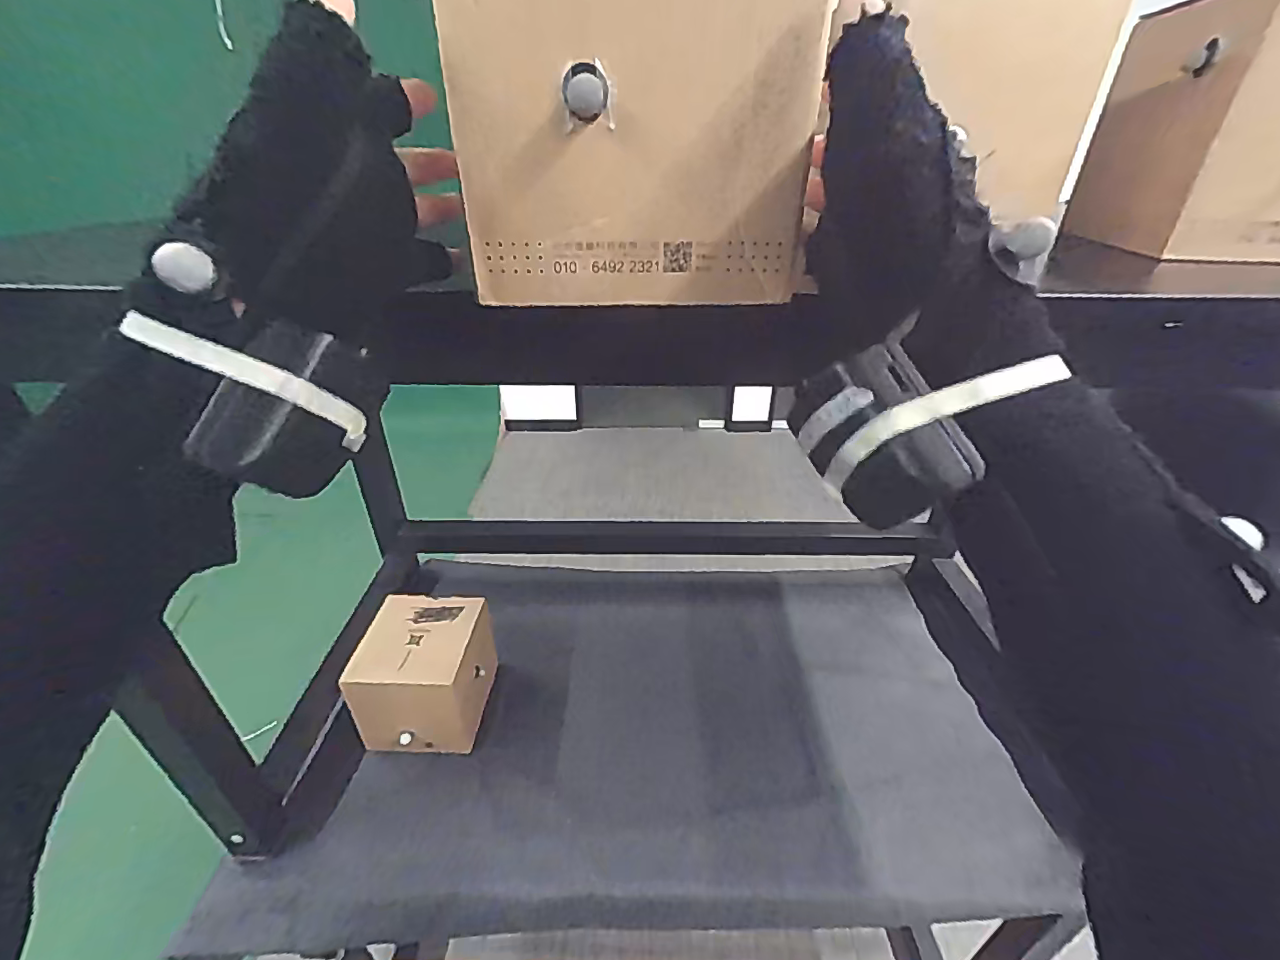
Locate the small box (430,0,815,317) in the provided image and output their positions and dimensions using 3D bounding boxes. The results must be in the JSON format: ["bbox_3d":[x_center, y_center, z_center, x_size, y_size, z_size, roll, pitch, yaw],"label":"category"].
[{"bbox_3d":[-0.007,-0.199,0.317,0.168,0.176,0.179,-1,32,-3],"label":"small box"}]

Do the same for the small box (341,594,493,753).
[{"bbox_3d":[-0.343,0.308,0.875,0.168,0.176,0.179,1,32,1],"label":"small box"}]

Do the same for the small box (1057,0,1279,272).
[{"bbox_3d":[0.481,-0.265,0.425,0.168,0.176,0.179,7,32,9],"label":"small box"}]
